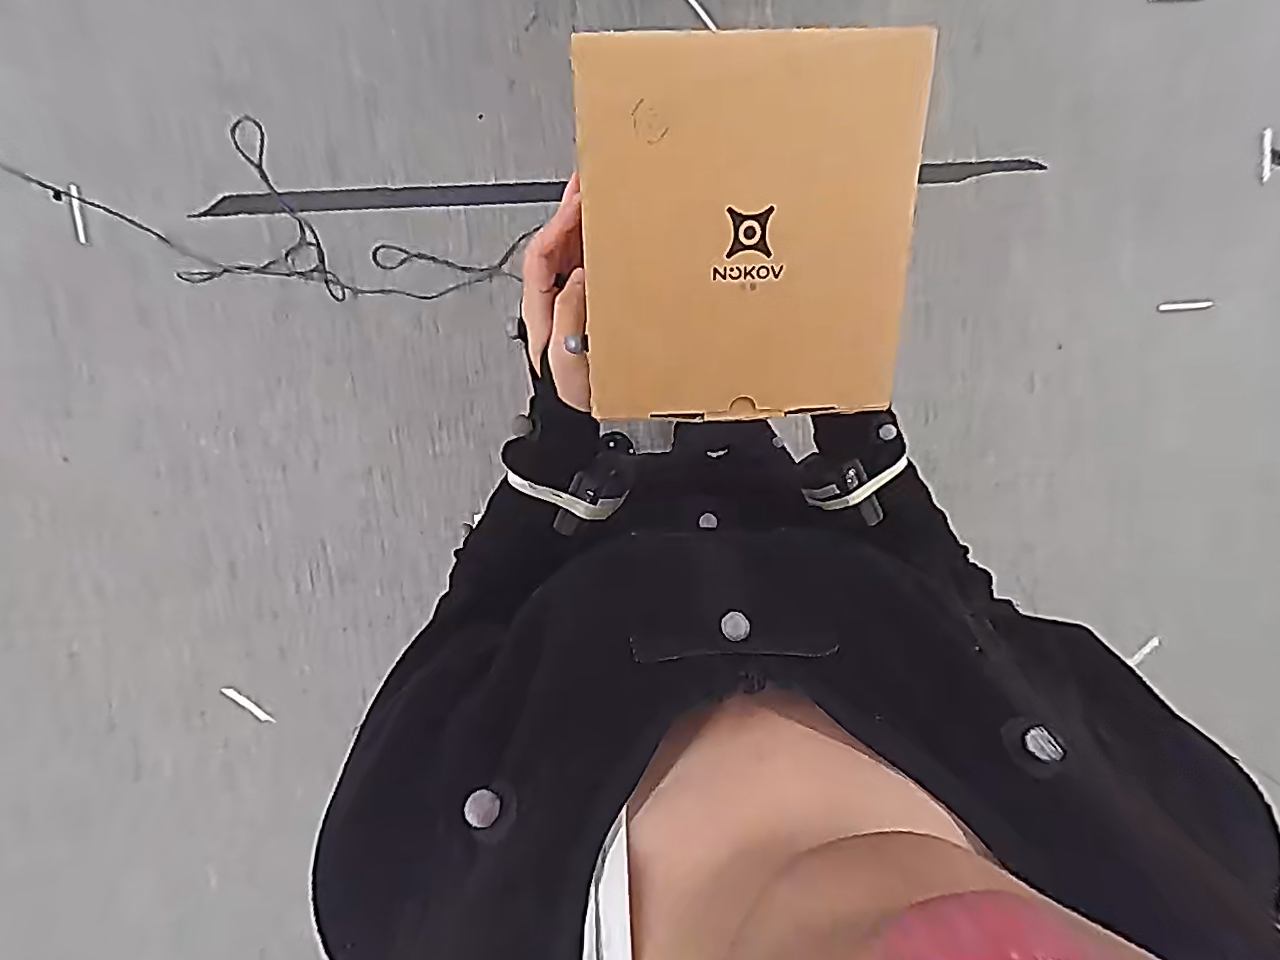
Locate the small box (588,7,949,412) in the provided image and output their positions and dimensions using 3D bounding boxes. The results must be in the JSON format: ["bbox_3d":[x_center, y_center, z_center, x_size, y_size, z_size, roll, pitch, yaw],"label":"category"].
[{"bbox_3d":[0.054,-0.147,0.337,0.168,0.176,0.179,-3,110,-2],"label":"small box"}]

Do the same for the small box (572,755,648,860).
[{"bbox_3d":[-0.081,0.892,1.486,0.179,0.176,0.168,-12,98,-3],"label":"small box"}]
